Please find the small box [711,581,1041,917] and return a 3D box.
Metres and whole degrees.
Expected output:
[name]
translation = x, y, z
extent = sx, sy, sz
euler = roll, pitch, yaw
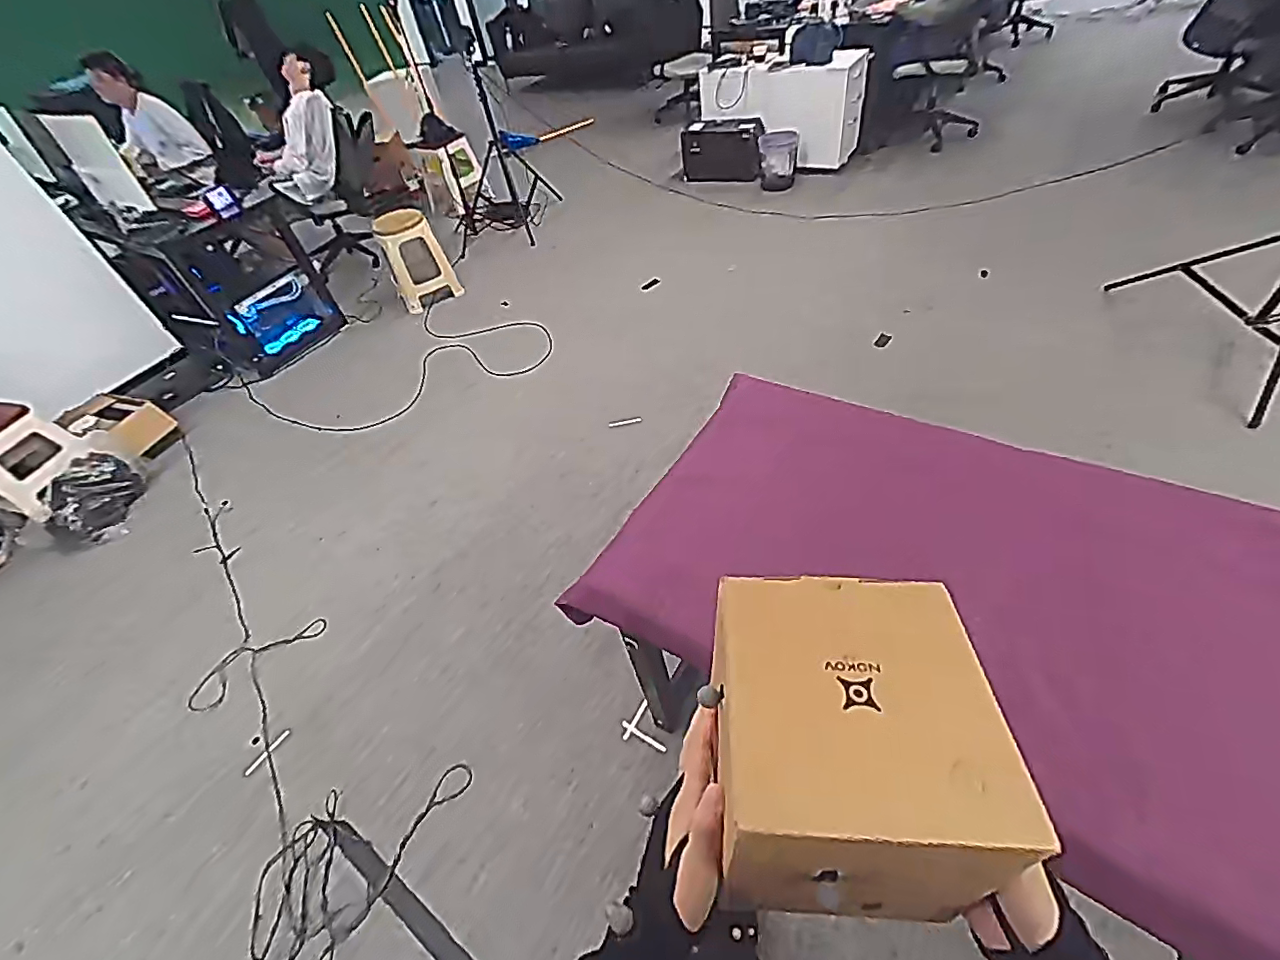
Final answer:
[small box]
translation = 0.141, 0.197, 0.403
extent = 0.168, 0.176, 0.179
euler = 1, 40, 4
